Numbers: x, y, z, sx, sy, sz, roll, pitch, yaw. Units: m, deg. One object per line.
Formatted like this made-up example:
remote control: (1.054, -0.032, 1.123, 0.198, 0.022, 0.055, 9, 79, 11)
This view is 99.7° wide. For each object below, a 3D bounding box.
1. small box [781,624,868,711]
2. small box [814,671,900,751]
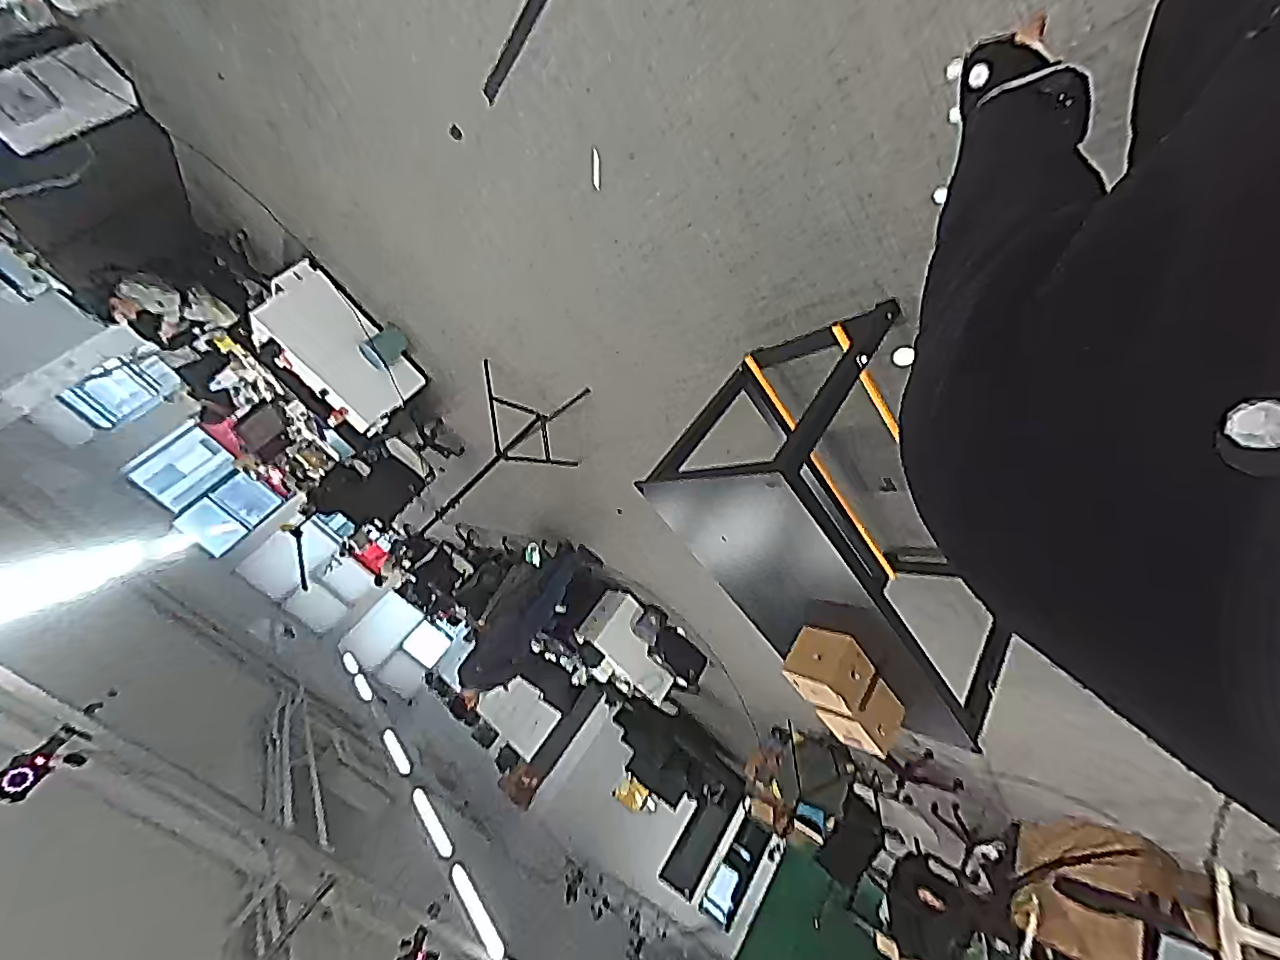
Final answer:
small box: (0.569, 0.563, 1.647, 0.168, 0.176, 0.179, 50, 152, -22)
small box: (0.697, 0.718, 1.725, 0.179, 0.176, 0.168, 50, 153, -19)
